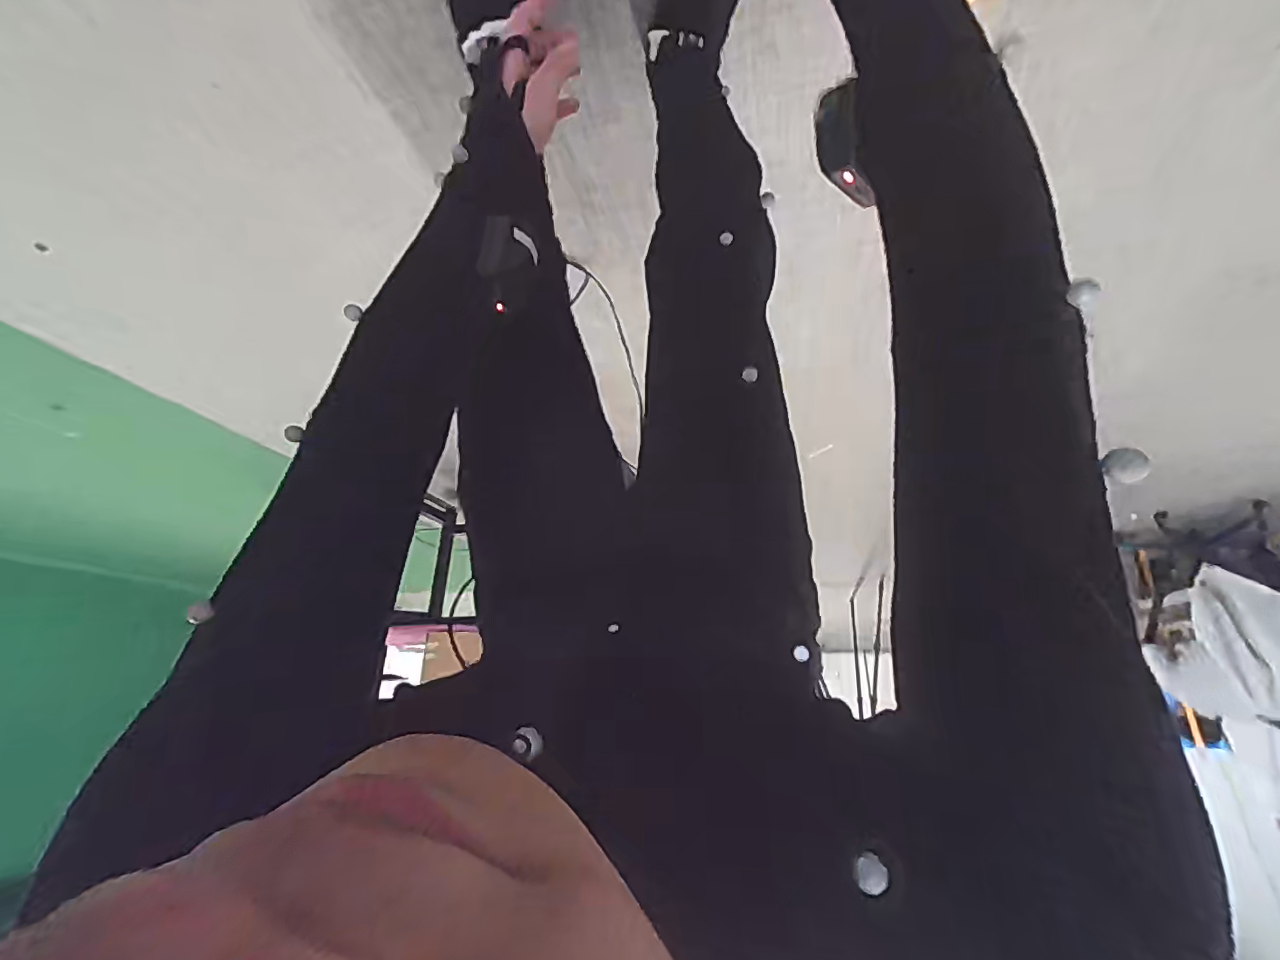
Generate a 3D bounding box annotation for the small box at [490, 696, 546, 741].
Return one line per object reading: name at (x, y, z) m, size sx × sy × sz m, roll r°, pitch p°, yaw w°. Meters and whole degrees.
small box at (-0.514, 1.009, 2.292) m, size 0.168 × 0.176 × 0.179 m, roll -5°, pitch 156°, yaw 16°

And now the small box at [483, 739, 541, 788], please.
small box at (-0.521, 1.158, 2.227) m, size 0.168 × 0.176 × 0.179 m, roll -6°, pitch 154°, yaw 16°
